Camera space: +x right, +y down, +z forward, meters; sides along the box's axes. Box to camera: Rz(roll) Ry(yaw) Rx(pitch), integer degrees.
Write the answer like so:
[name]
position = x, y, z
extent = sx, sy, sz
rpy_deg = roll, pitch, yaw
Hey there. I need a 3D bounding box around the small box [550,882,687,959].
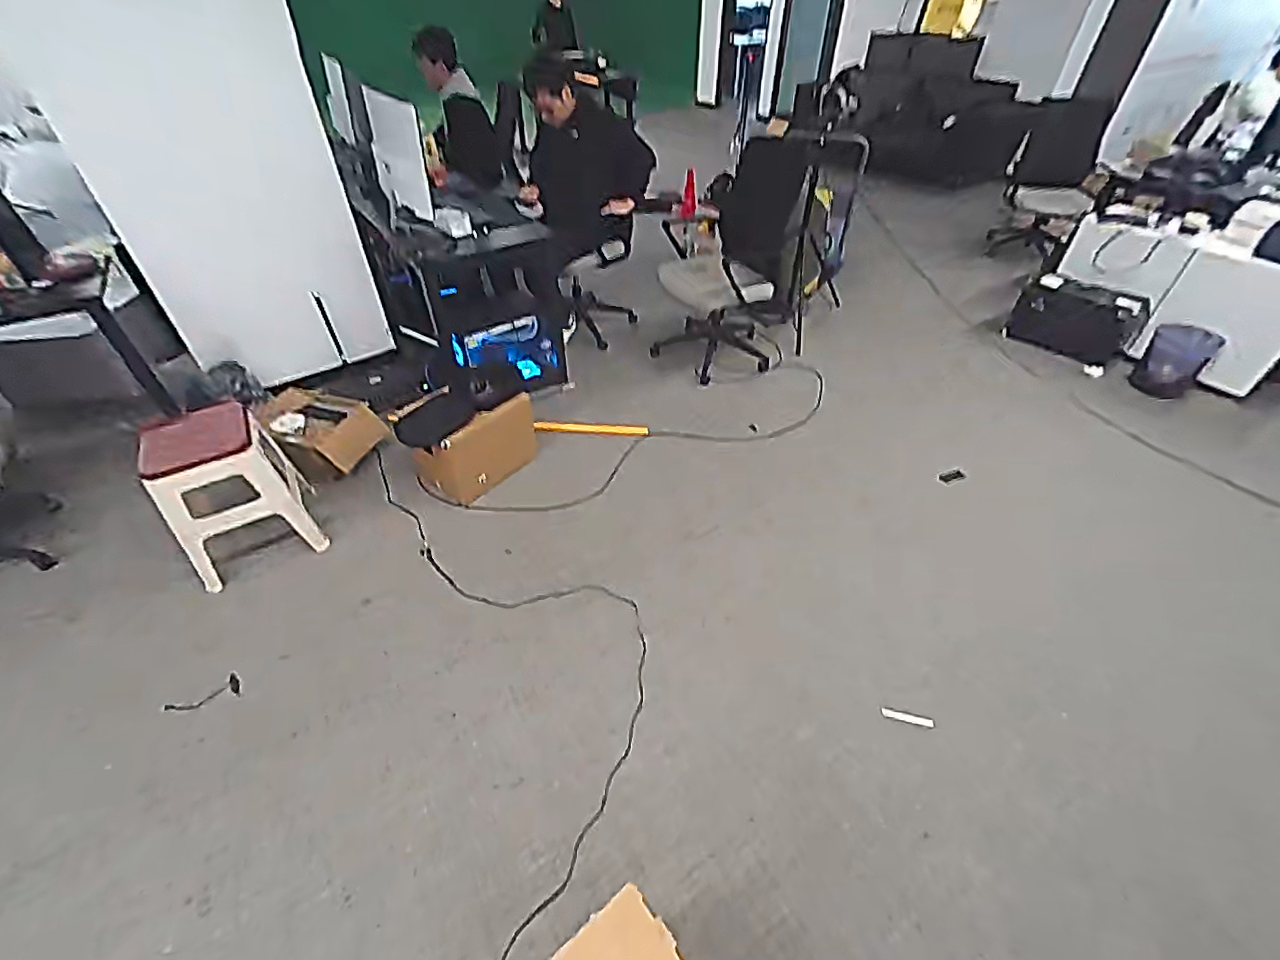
[small box]
position = -0.028, 0.763, 0.814
extent = 0.179, 0.176, 0.168
rpy_deg = -28, 50, -29
